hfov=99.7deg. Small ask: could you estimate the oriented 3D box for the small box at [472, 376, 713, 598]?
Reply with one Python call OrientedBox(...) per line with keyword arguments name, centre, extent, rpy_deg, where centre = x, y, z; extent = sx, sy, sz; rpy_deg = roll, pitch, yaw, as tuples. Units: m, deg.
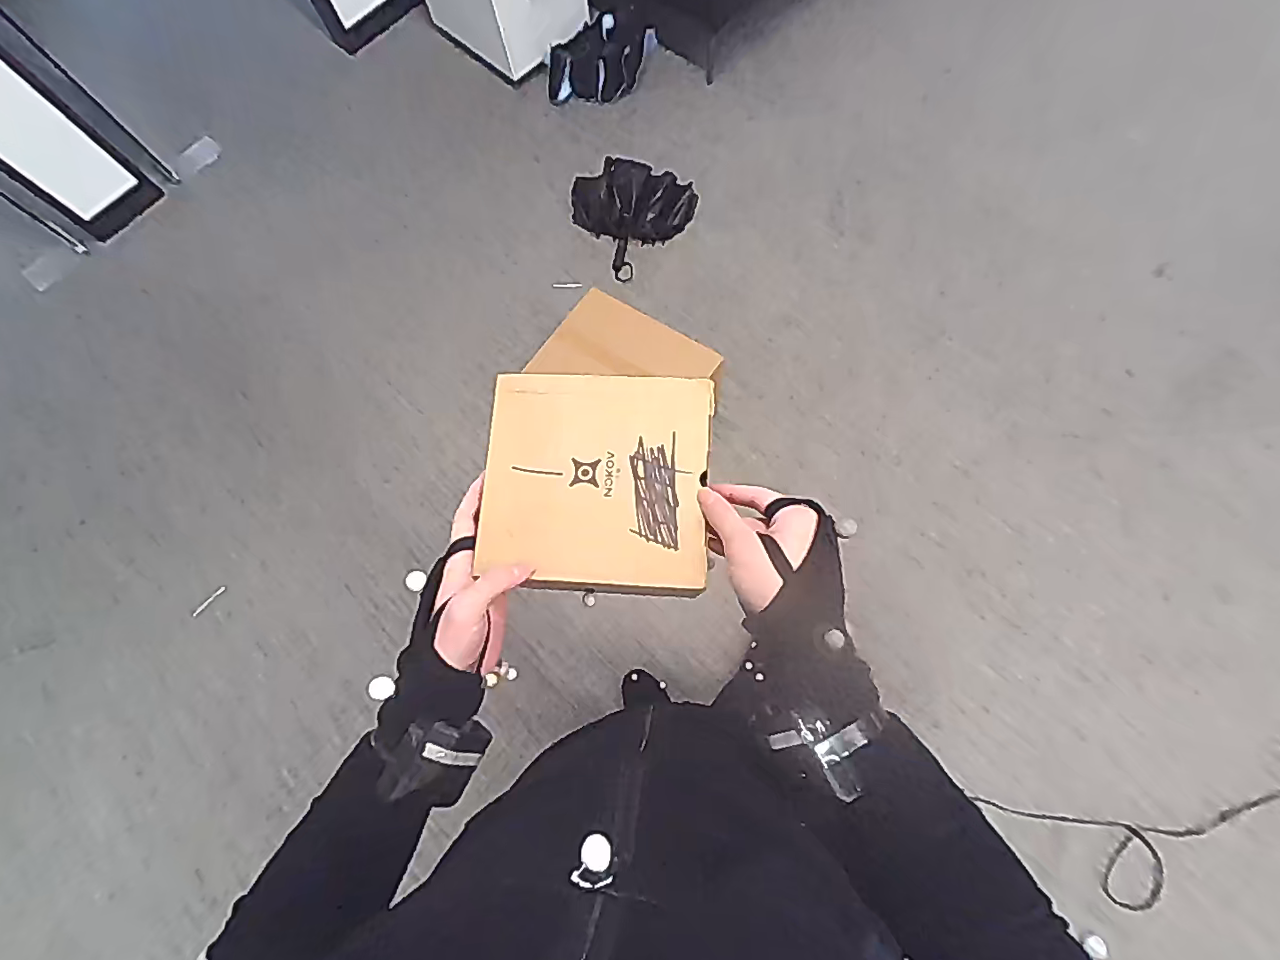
OrientedBox(name="small box", centre=(-0.030, 0.018, 0.492), extent=(0.179, 0.176, 0.168), rpy_deg=(2, 76, 4))
